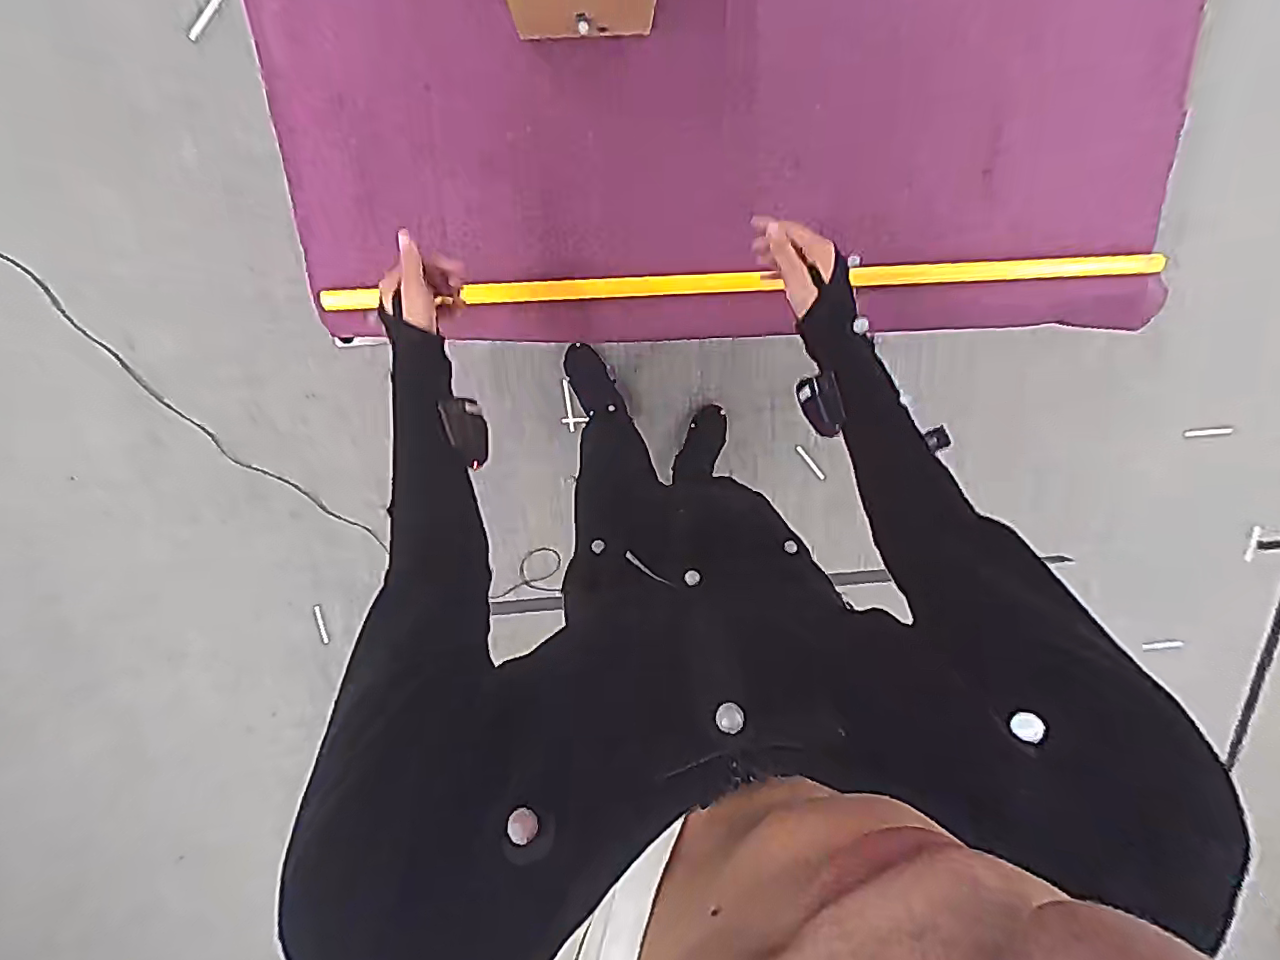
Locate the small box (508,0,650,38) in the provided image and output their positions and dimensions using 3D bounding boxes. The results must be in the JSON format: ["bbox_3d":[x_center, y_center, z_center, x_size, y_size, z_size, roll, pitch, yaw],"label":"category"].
[{"bbox_3d":[-0.073,-0.614,0.577,0.168,0.176,0.179,-4,110,-2],"label":"small box"}]
